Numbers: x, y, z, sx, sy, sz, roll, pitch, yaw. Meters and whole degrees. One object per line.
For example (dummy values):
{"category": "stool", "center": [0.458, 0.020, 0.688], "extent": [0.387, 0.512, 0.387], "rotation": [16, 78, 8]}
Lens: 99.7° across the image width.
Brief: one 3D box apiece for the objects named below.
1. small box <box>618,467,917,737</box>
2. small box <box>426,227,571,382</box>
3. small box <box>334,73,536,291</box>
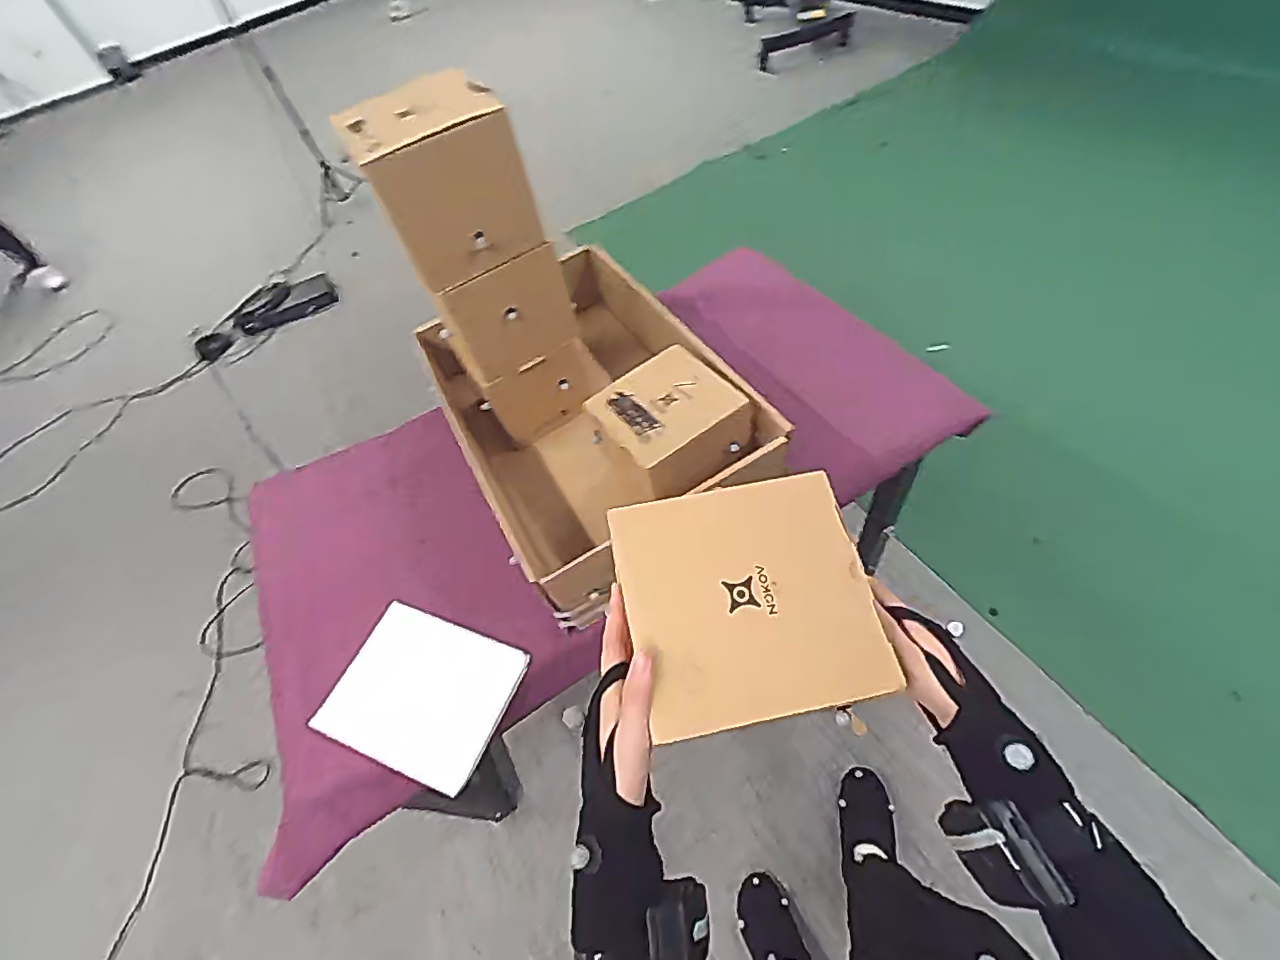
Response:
{"category": "small box", "center": [0.082, 0.110, 0.450], "extent": [0.179, 0.176, 0.168], "rotation": [-9, 65, -6]}
{"category": "small box", "center": [-0.222, -0.286, 0.828], "extent": [0.179, 0.176, 0.168], "rotation": [-32, 56, -12]}
{"category": "small box", "center": [-0.250, -0.380, 0.696], "extent": [0.179, 0.176, 0.168], "rotation": [-30, 56, -12]}
